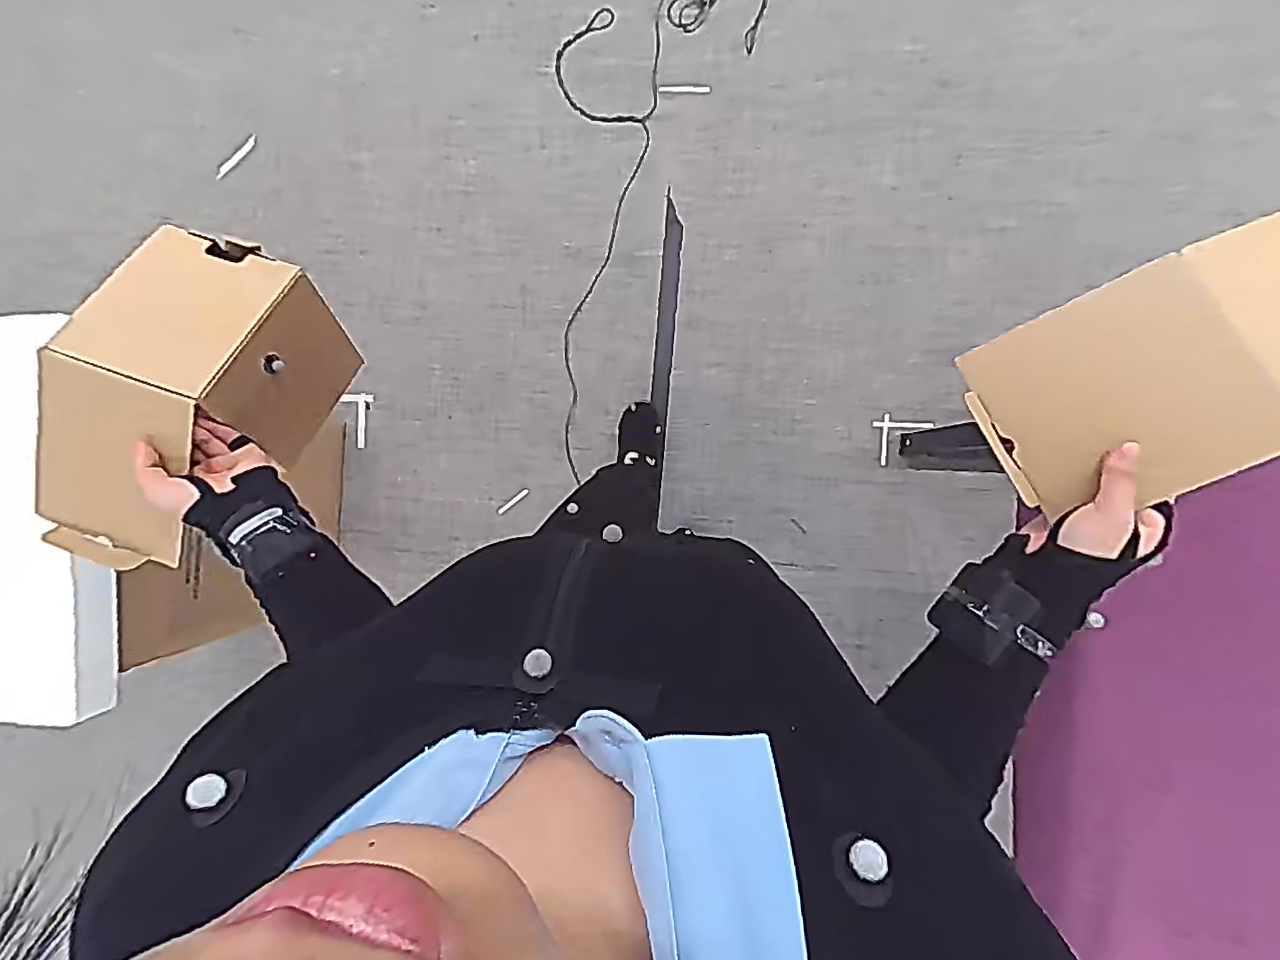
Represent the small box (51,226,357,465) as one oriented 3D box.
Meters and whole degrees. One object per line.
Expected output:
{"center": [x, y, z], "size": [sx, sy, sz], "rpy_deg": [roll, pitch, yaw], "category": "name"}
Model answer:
{"center": [-0.459, -0.141, 0.610], "size": [0.168, 0.176, 0.179], "rpy_deg": [19, 65, 4], "category": "small box"}
